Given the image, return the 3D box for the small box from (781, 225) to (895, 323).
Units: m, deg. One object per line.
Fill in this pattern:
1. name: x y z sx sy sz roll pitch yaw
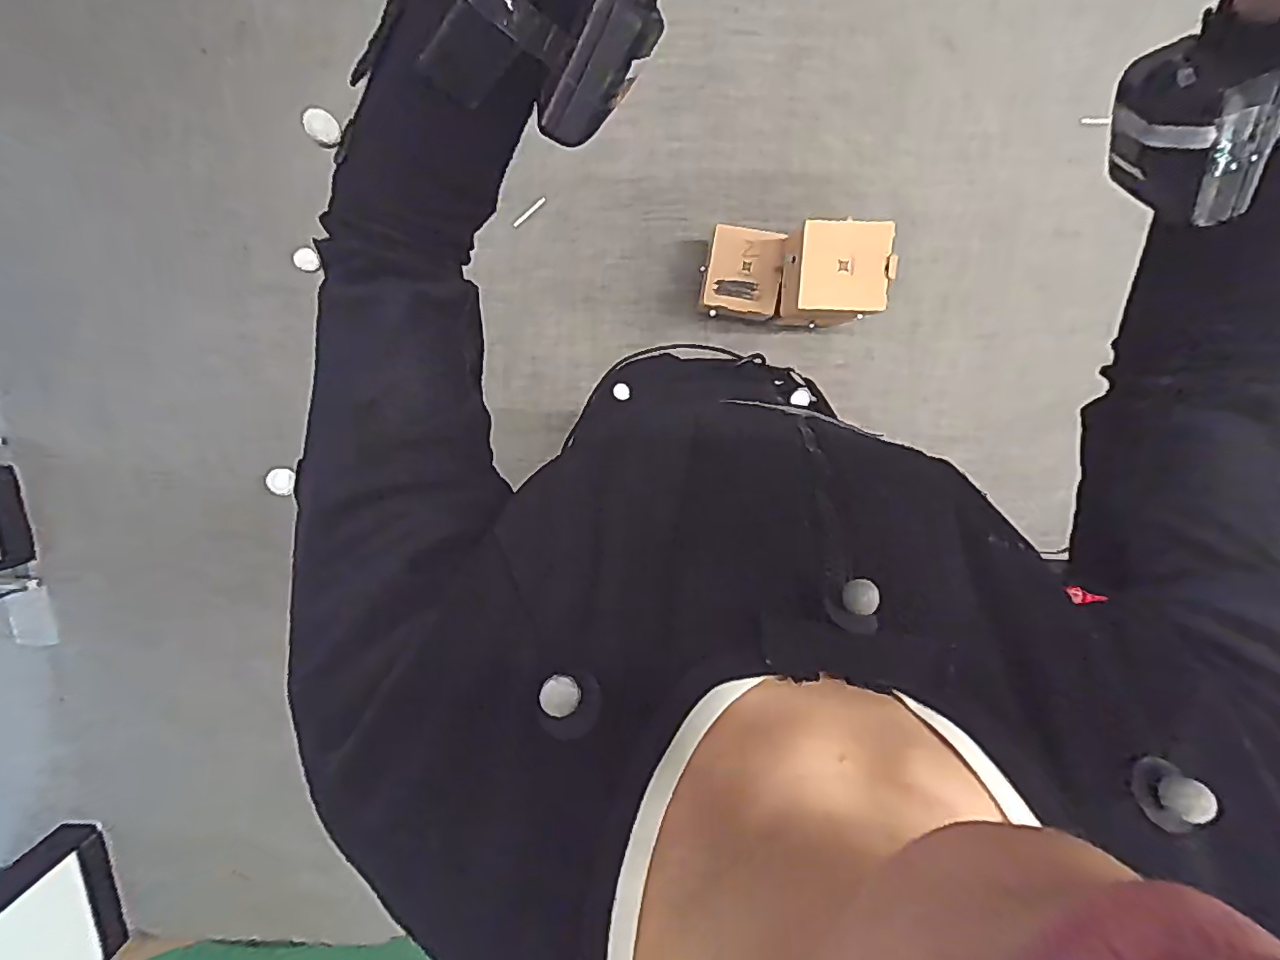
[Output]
1. small box: 0.402 -0.422 1.130 0.179 0.176 0.168 2 102 1
